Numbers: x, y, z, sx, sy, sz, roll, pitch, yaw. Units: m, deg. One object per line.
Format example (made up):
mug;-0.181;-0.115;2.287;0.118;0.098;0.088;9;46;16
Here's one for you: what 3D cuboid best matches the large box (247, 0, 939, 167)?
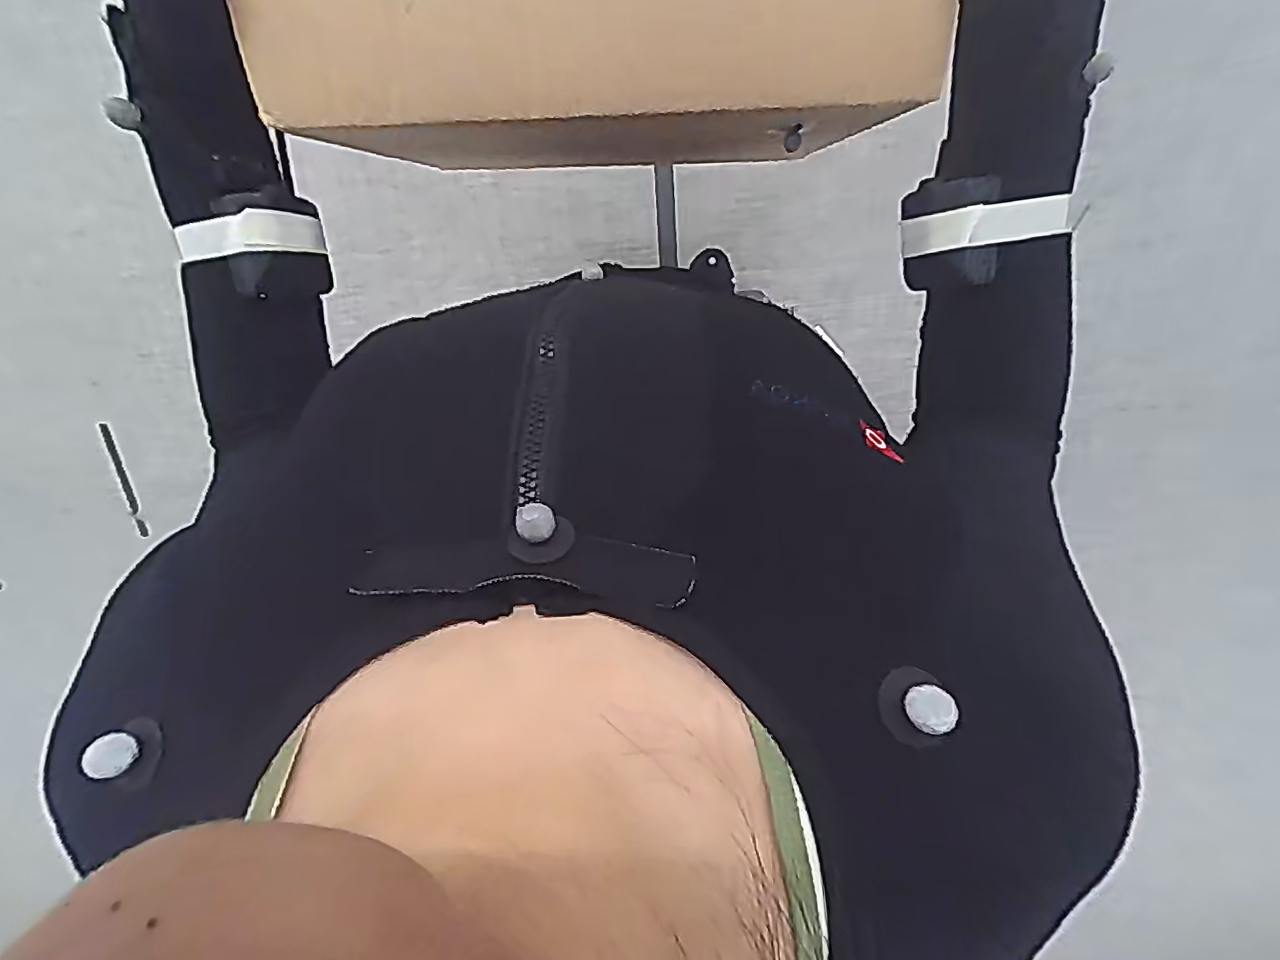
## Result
large box;-0.029;-0.426;0.401;0.408;0.320;0.320;-2;115;1
